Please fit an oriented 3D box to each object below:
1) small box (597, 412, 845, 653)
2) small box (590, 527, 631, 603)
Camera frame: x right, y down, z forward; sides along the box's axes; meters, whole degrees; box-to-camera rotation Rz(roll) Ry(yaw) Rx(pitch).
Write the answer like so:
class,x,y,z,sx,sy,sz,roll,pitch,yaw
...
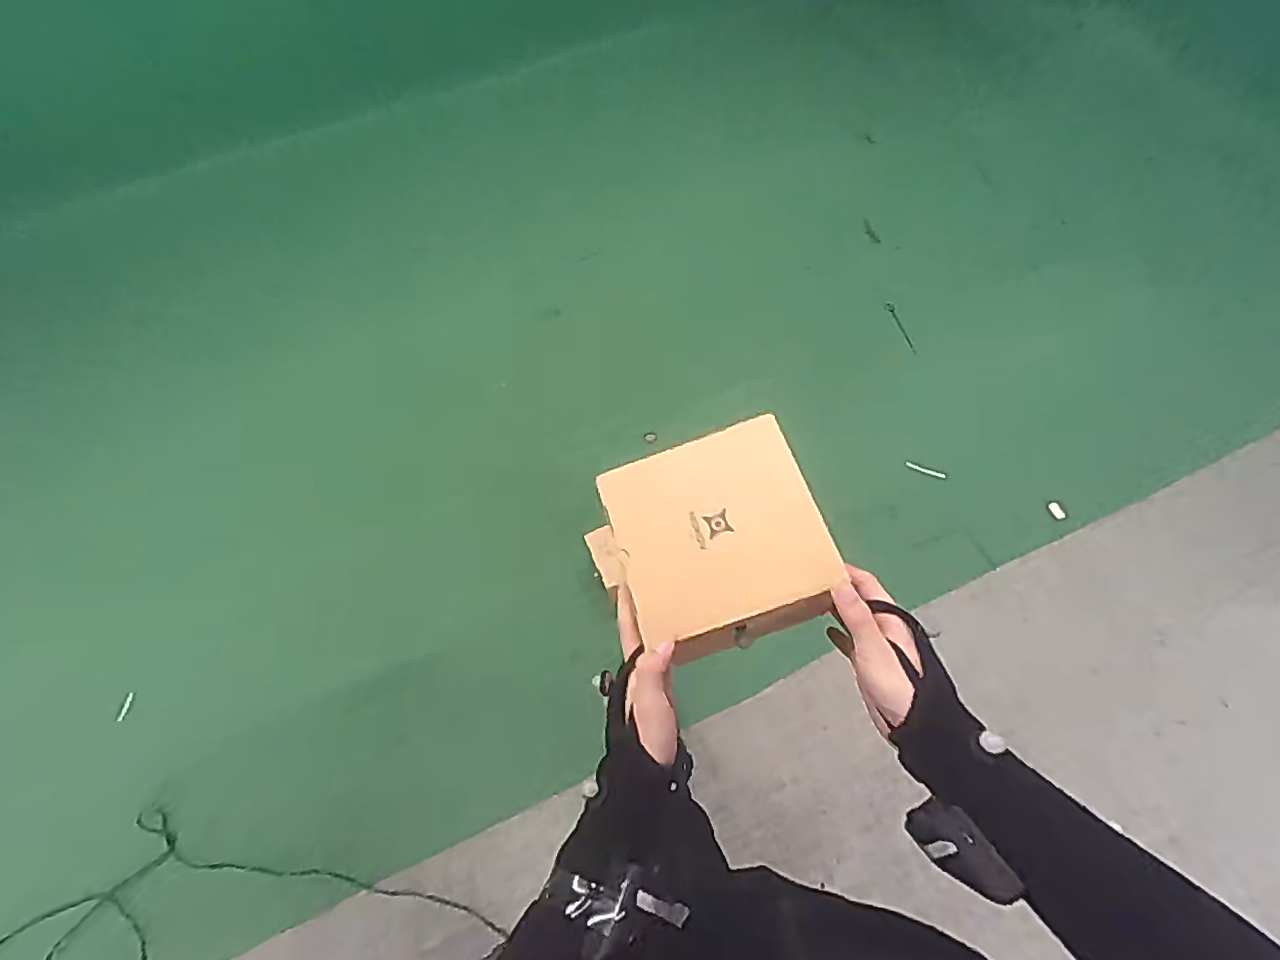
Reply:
class,x,y,z,sx,sy,sz,roll,pitch,yaw
small box,0.078,0.064,0.541,0.179,0.176,0.168,-21,65,5
small box,-0.023,0.222,1.516,0.179,0.176,0.168,-24,64,-8
